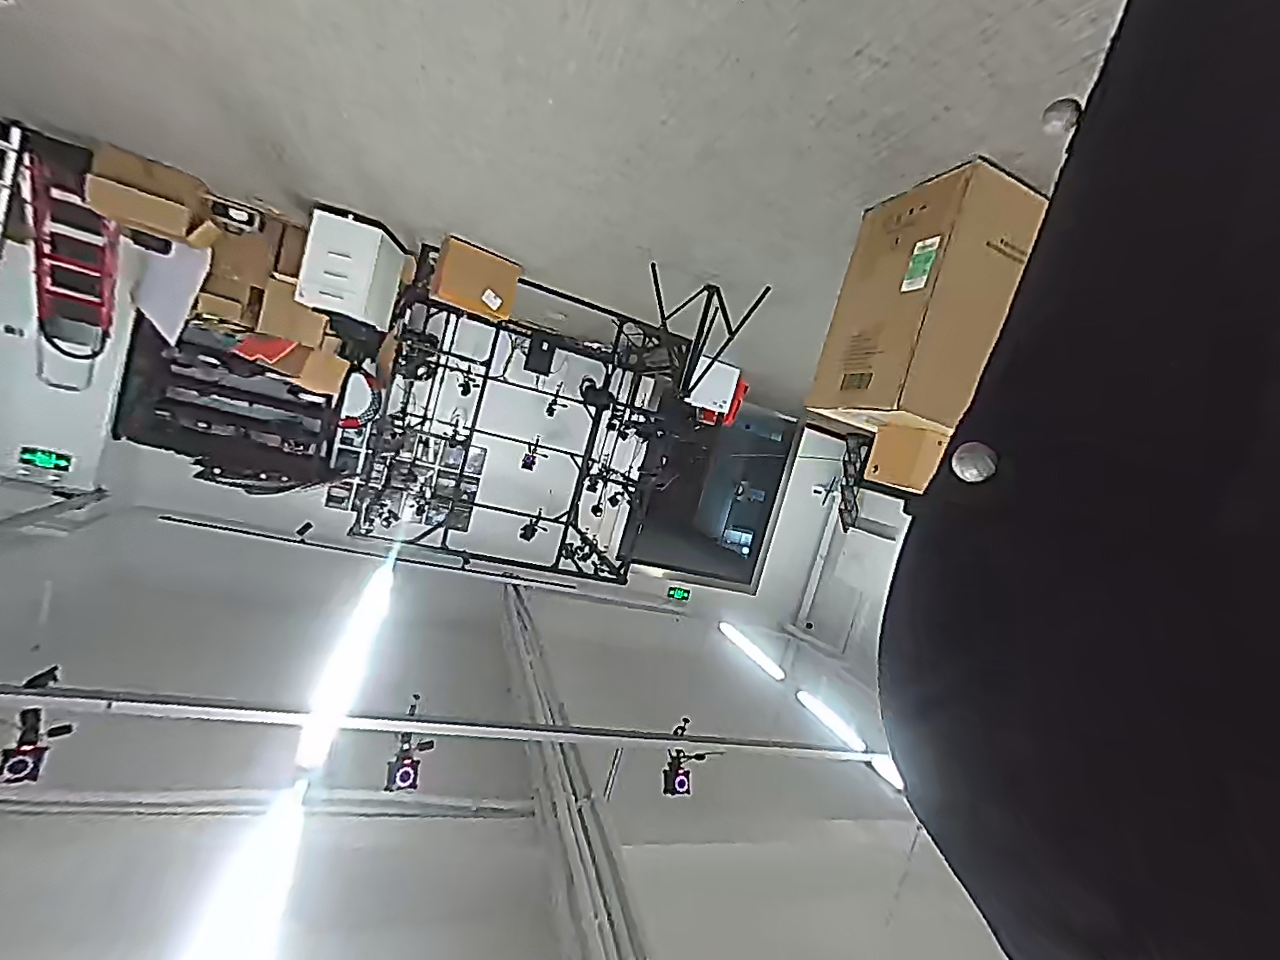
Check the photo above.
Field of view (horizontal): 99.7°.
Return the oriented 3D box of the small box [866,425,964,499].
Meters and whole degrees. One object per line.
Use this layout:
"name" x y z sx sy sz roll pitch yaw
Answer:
"small box" 0.783 -0.056 1.530 0.168 0.176 0.179 13 -175 -21
